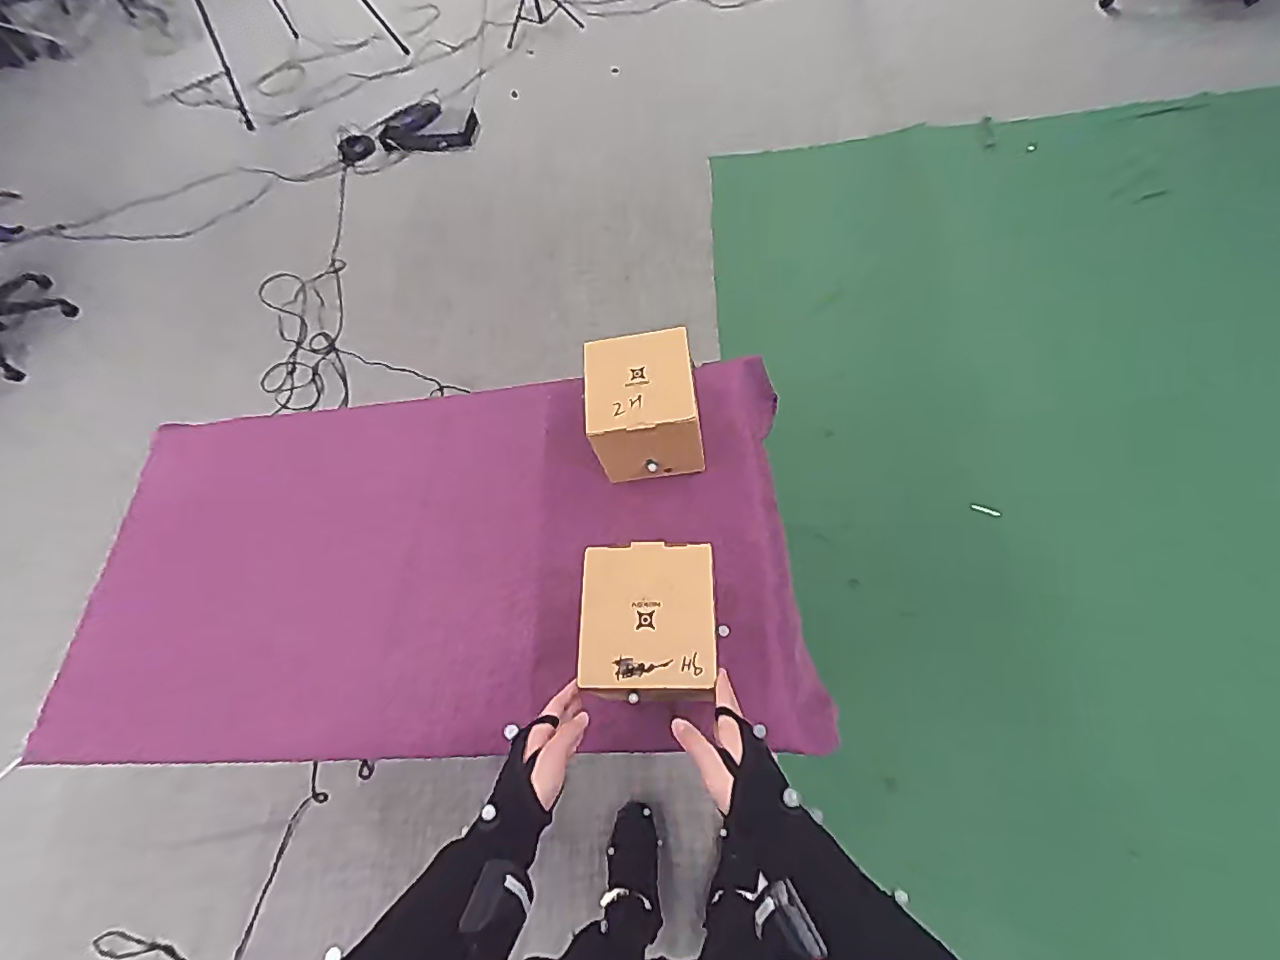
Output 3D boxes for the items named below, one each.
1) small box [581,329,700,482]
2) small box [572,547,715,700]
[{"bbox_3d":[0.005,-0.117,0.894,0.168,0.176,0.179,-8,64,9],"label":"small box"},{"bbox_3d":[0.014,0.201,0.740,0.168,0.176,0.179,-3,65,10],"label":"small box"}]
